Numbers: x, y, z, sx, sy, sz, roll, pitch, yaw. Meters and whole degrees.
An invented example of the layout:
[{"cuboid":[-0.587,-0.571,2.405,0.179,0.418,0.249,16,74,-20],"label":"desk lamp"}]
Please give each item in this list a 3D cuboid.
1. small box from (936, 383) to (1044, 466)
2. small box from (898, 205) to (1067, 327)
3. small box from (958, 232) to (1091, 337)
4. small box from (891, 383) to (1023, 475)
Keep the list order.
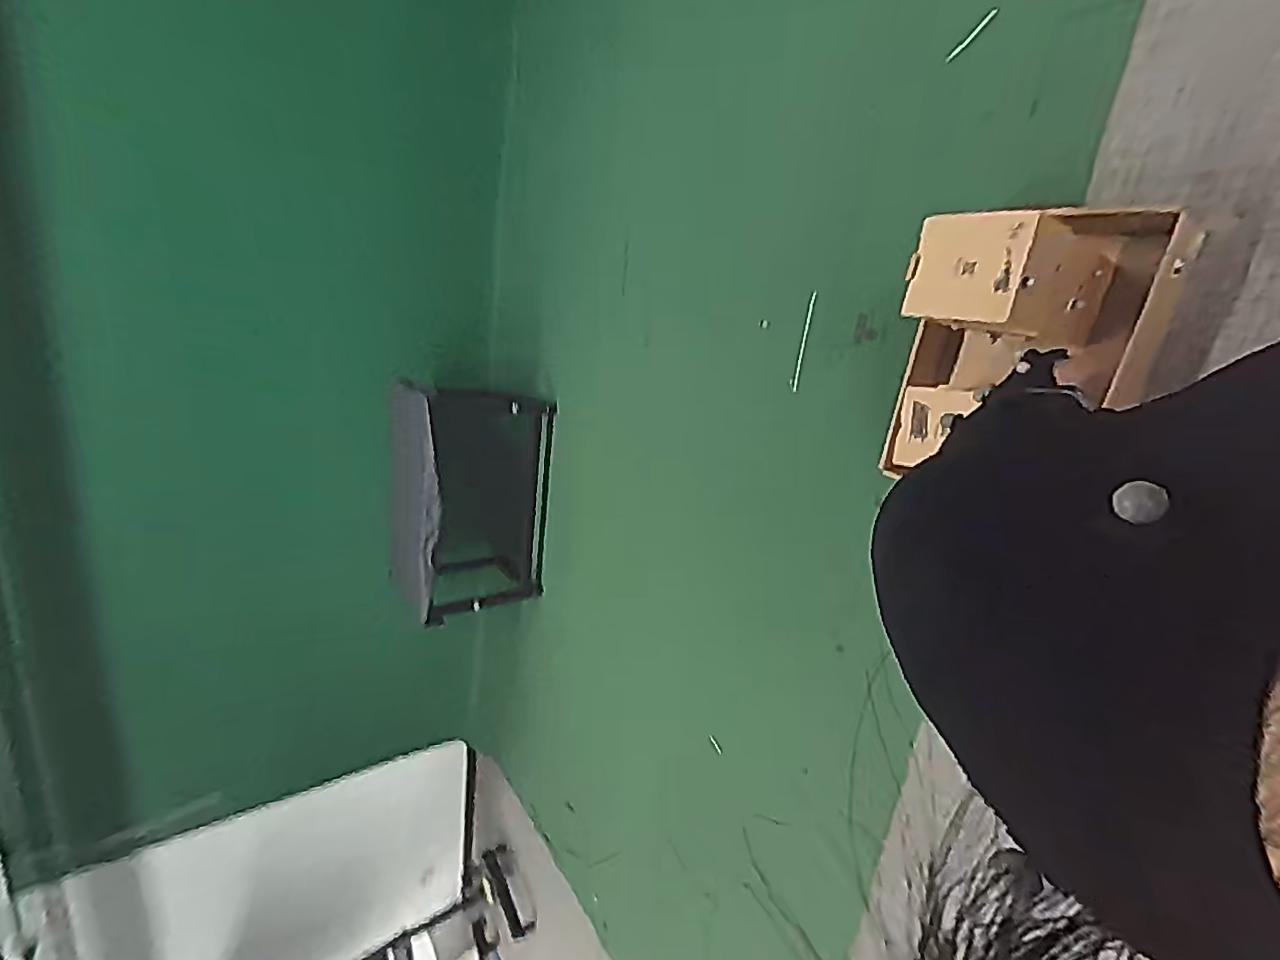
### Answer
[{"cuboid":[0.782,-0.126,1.239,0.179,0.176,0.168,21,108,48],"label":"small box"},{"cuboid":[0.587,-0.361,0.933,0.179,0.176,0.168,26,114,48],"label":"small box"},{"cuboid":[0.715,-0.373,1.037,0.179,0.176,0.168,28,116,45],"label":"small box"},{"cuboid":[0.661,-0.108,1.129,0.179,0.176,0.168,17,106,48],"label":"small box"}]
